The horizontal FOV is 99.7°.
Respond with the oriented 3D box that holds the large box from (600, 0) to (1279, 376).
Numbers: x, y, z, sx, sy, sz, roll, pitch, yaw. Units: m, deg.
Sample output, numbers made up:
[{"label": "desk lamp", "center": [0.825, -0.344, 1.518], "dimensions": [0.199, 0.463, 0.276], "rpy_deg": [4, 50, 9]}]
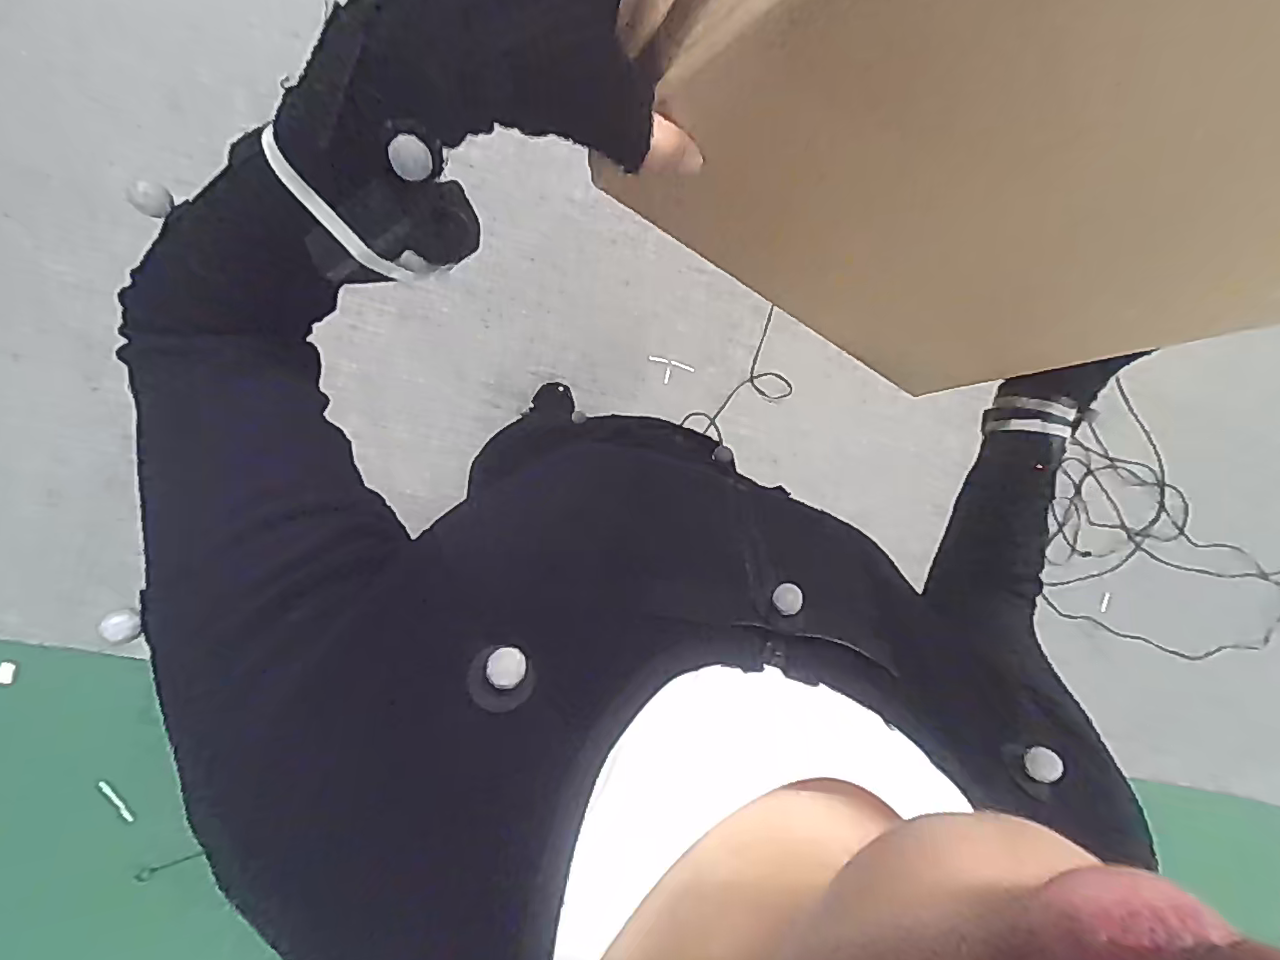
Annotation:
[{"label": "large box", "center": [0.225, -0.287, 0.307], "dimensions": [0.408, 0.320, 0.320], "rpy_deg": [12, 77, -43]}]
